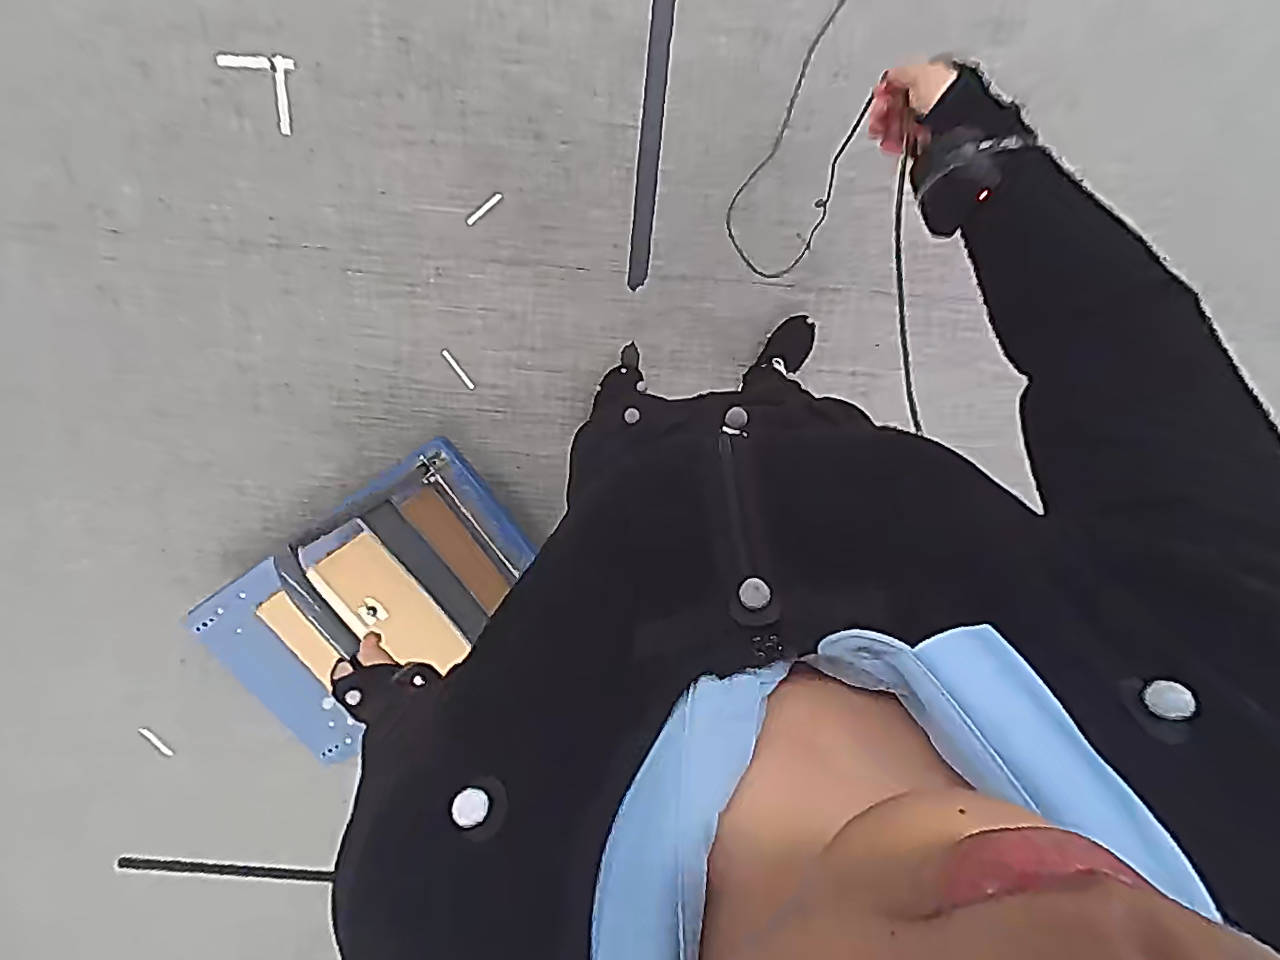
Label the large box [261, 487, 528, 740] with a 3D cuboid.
[{"bbox_3d":[-0.523,0.288,1.244,0.320,0.320,0.408,-34,102,7],"label":"large box"}]
